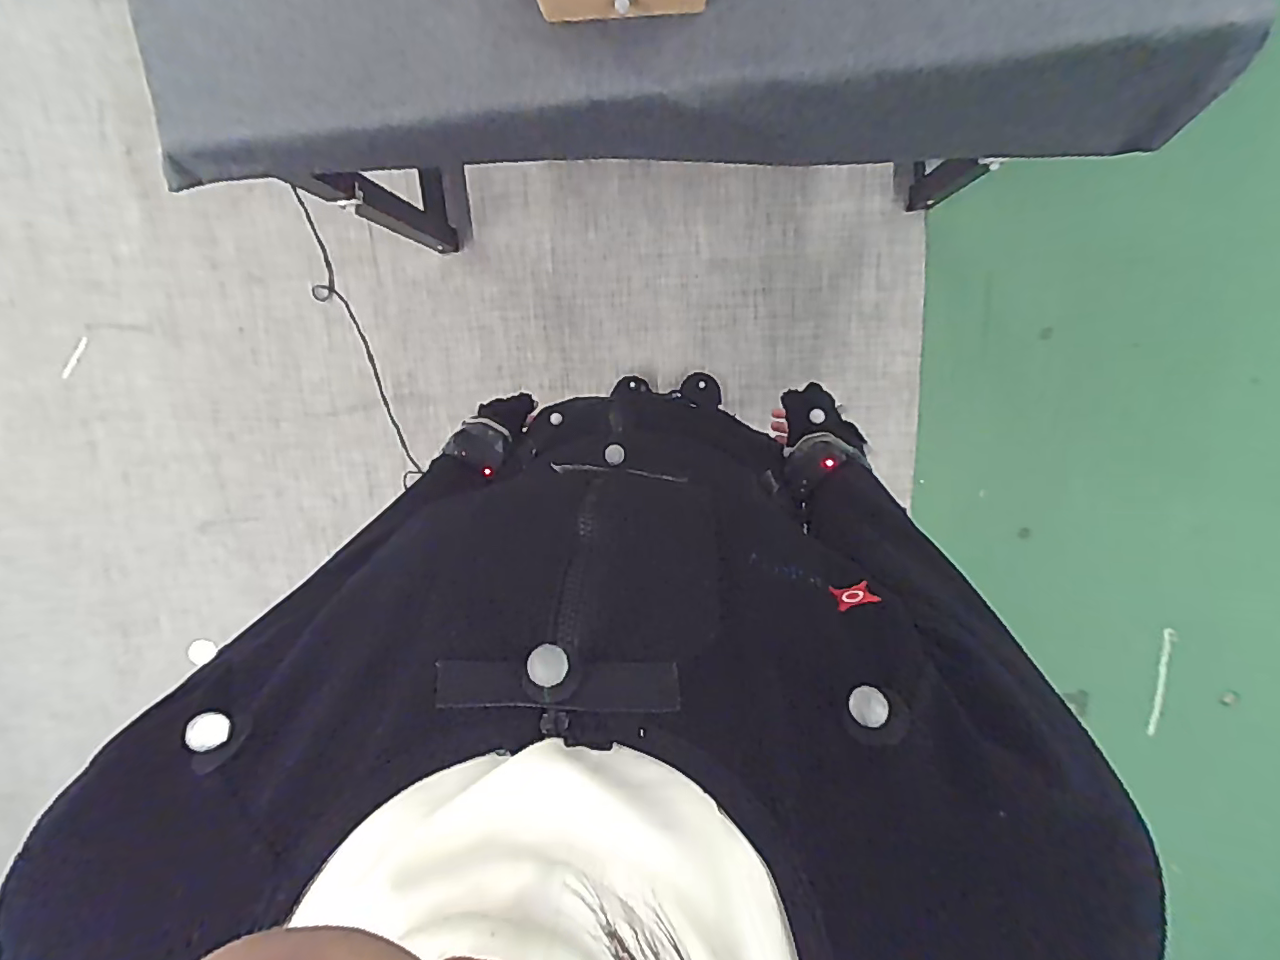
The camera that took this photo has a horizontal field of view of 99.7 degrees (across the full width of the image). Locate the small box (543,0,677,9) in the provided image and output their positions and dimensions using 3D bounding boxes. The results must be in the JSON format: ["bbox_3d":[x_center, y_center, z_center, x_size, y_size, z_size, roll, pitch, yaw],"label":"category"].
[{"bbox_3d":[-0.025,-0.574,0.490,0.179,0.176,0.168,-1,102,3],"label":"small box"}]
